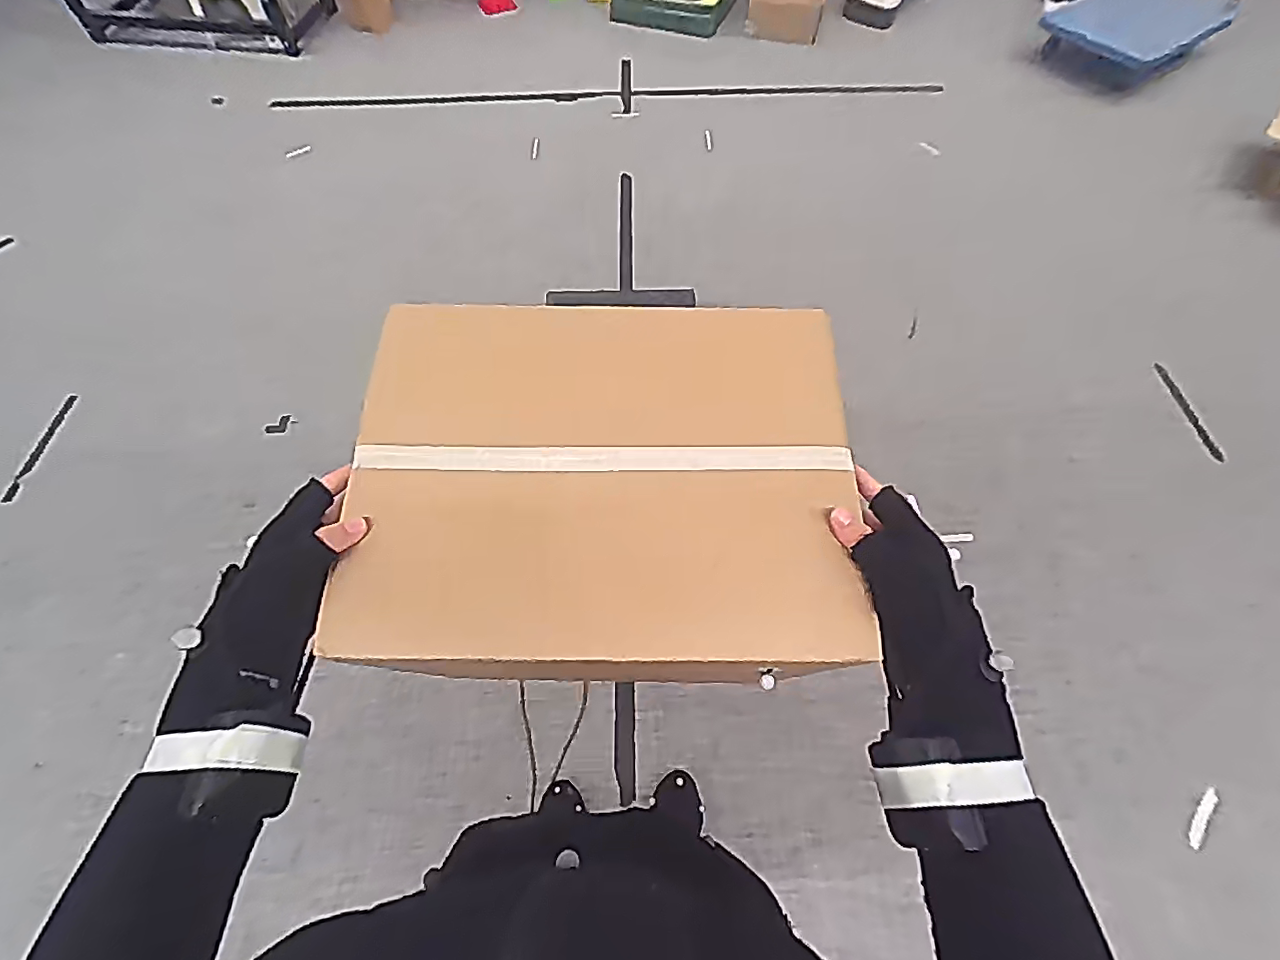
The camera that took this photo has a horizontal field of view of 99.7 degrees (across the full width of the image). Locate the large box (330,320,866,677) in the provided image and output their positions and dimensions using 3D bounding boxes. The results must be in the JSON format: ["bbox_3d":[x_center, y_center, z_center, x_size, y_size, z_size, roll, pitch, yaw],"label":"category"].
[{"bbox_3d":[-0.031,0.048,0.590,0.408,0.320,0.320,1,67,-1],"label":"large box"}]
